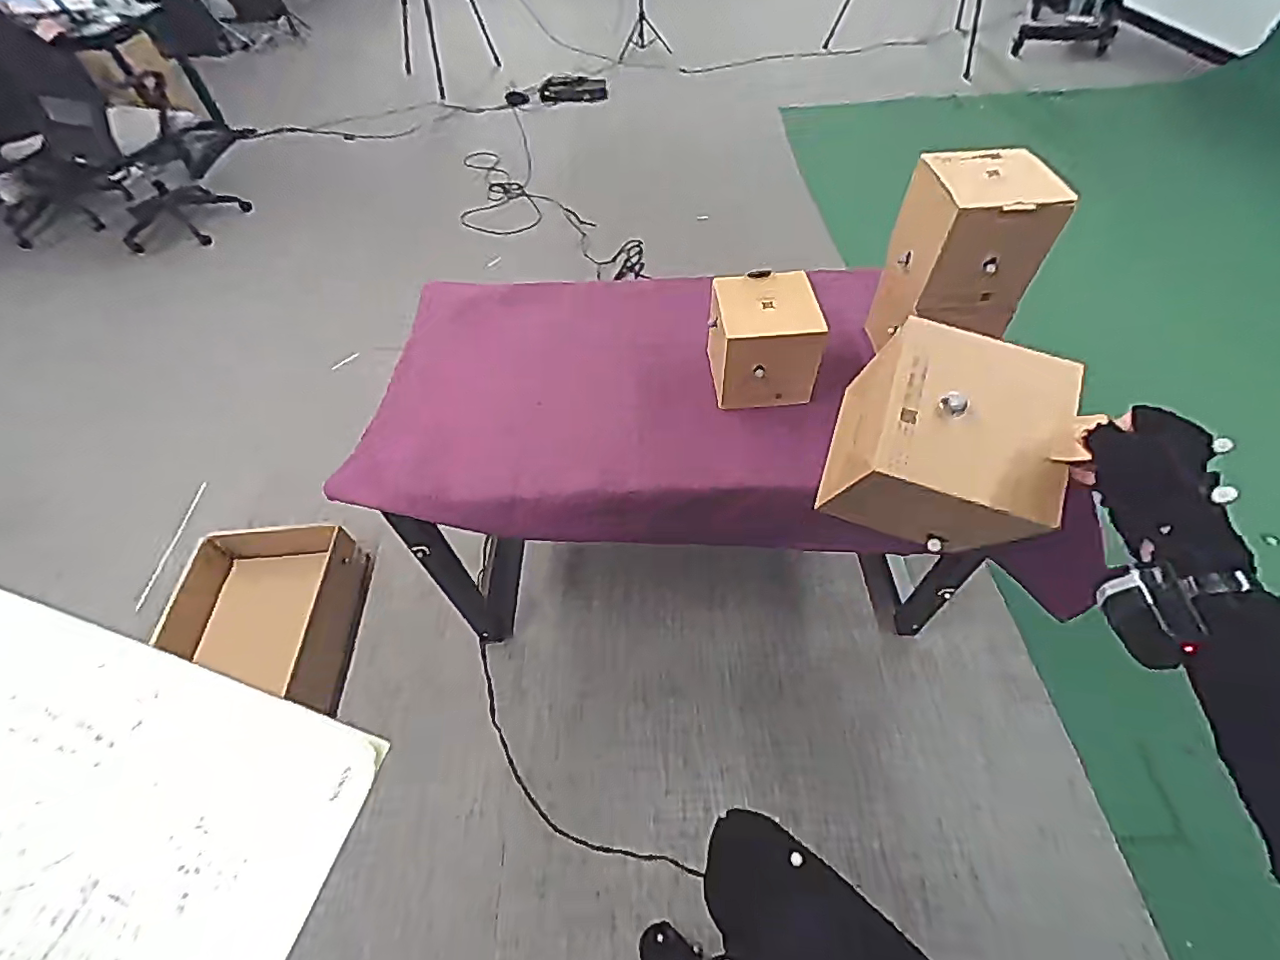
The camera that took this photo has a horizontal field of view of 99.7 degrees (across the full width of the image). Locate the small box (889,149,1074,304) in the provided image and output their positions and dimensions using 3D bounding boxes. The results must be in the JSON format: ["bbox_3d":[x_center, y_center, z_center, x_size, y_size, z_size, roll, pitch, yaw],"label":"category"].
[{"bbox_3d":[0.523,-0.396,0.862,0.168,0.176,0.179,-1,54,2],"label":"small box"}]

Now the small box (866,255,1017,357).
[{"bbox_3d":[0.538,-0.299,0.993,0.168,0.176,0.179,-2,53,2],"label":"small box"}]

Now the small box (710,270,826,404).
[{"bbox_3d":[0.221,-0.251,0.980,0.168,0.176,0.179,-4,52,1],"label":"small box"}]

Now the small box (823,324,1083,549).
[{"bbox_3d":[0.311,-0.040,0.575,0.176,0.179,0.168,18,76,5],"label":"small box"}]
